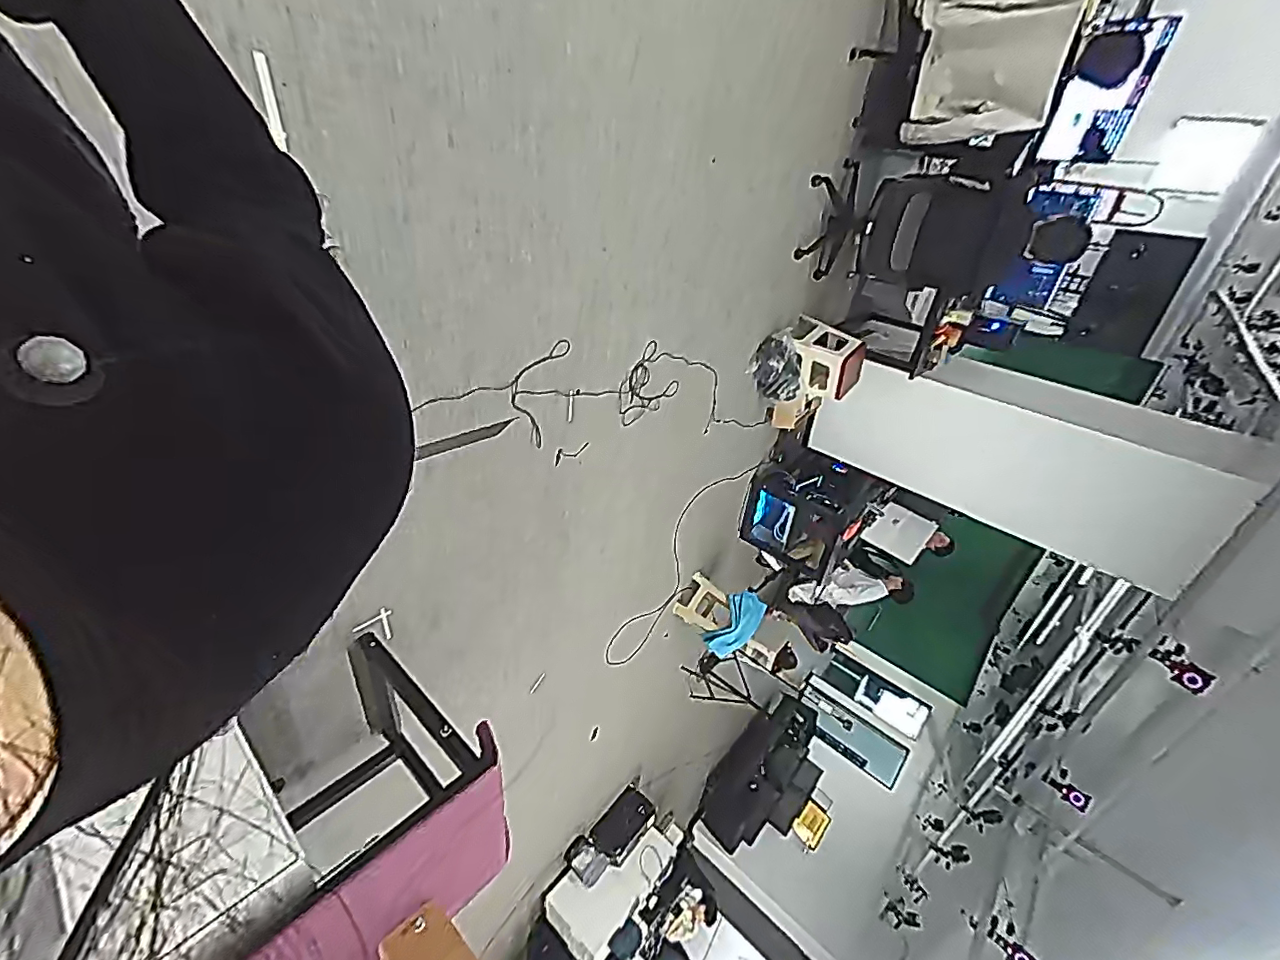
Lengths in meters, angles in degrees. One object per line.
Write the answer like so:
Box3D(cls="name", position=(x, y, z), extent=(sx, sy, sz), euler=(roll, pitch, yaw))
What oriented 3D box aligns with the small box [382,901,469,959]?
Box3D(cls="small box", position=(-0.596, 1.334, 1.502), extent=(0.168, 0.176, 0.179), euler=(-22, 129, -47))
